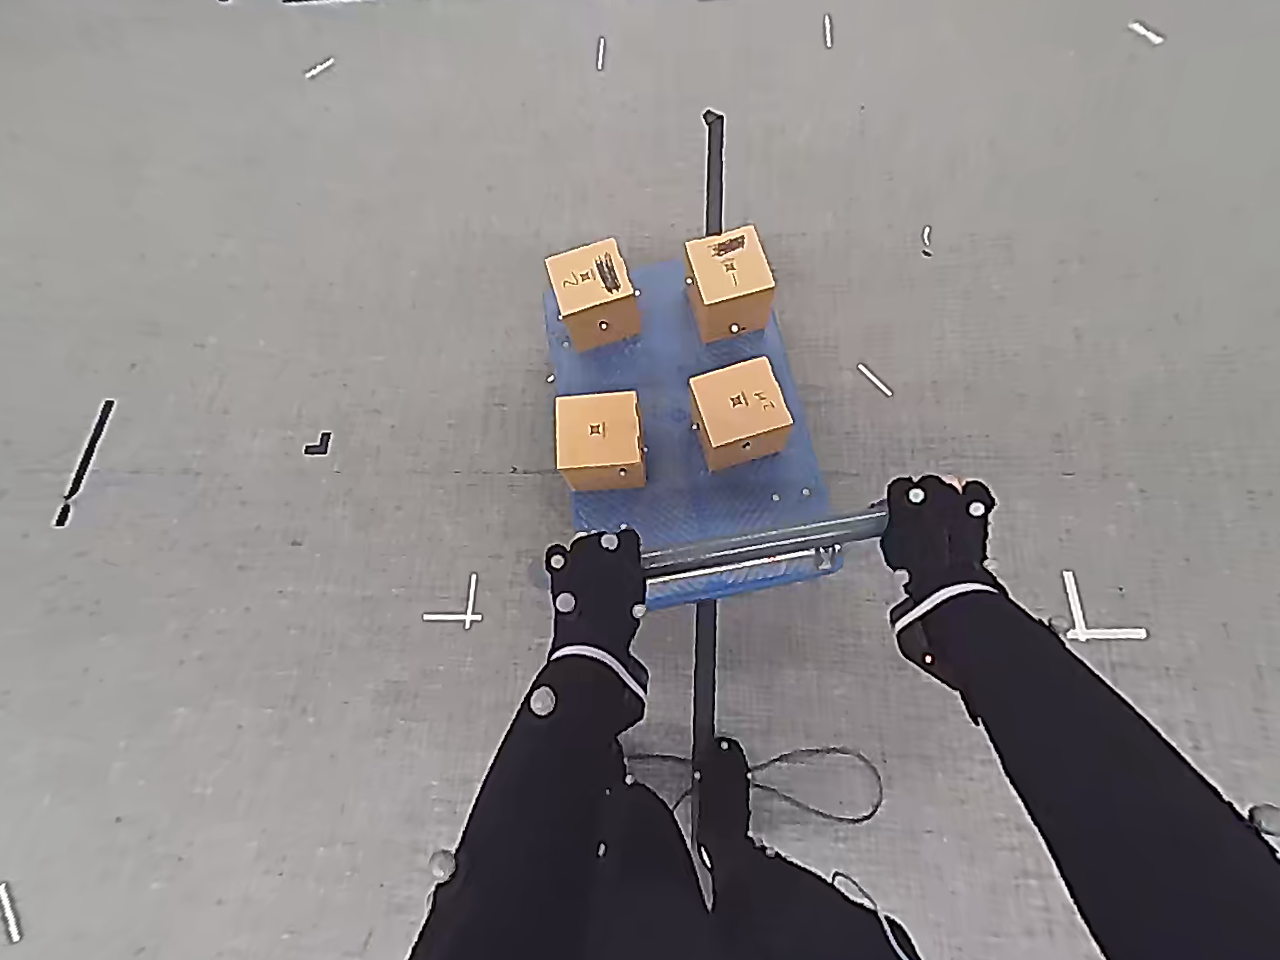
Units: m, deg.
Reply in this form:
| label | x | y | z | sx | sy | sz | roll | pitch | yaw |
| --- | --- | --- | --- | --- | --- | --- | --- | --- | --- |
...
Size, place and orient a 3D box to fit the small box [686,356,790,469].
| label | x | y | z | sx | sy | sz | roll | pitch | yaw |
| --- | --- | --- | --- | --- | --- | --- | --- | --- | --- |
| small box | 0.209 | -0.140 | 1.191 | 0.179 | 0.176 | 0.168 | -17 | 73 | 0 |

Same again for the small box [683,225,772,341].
| label | x | y | z | sx | sy | sz | roll | pitch | yaw |
| --- | --- | --- | --- | --- | --- | --- | --- | --- | --- |
| small box | 0.200 | -0.463 | 1.289 | 0.168 | 0.176 | 0.179 | -15 | 74 | 1 |

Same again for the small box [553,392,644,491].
| label | x | y | z | sx | sy | sz | roll | pitch | yaw |
| --- | --- | --- | --- | --- | --- | --- | --- | --- | --- |
| small box | -0.089 | -0.079 | 1.201 | 0.179 | 0.176 | 0.168 | -5 | 73 | 2 |
